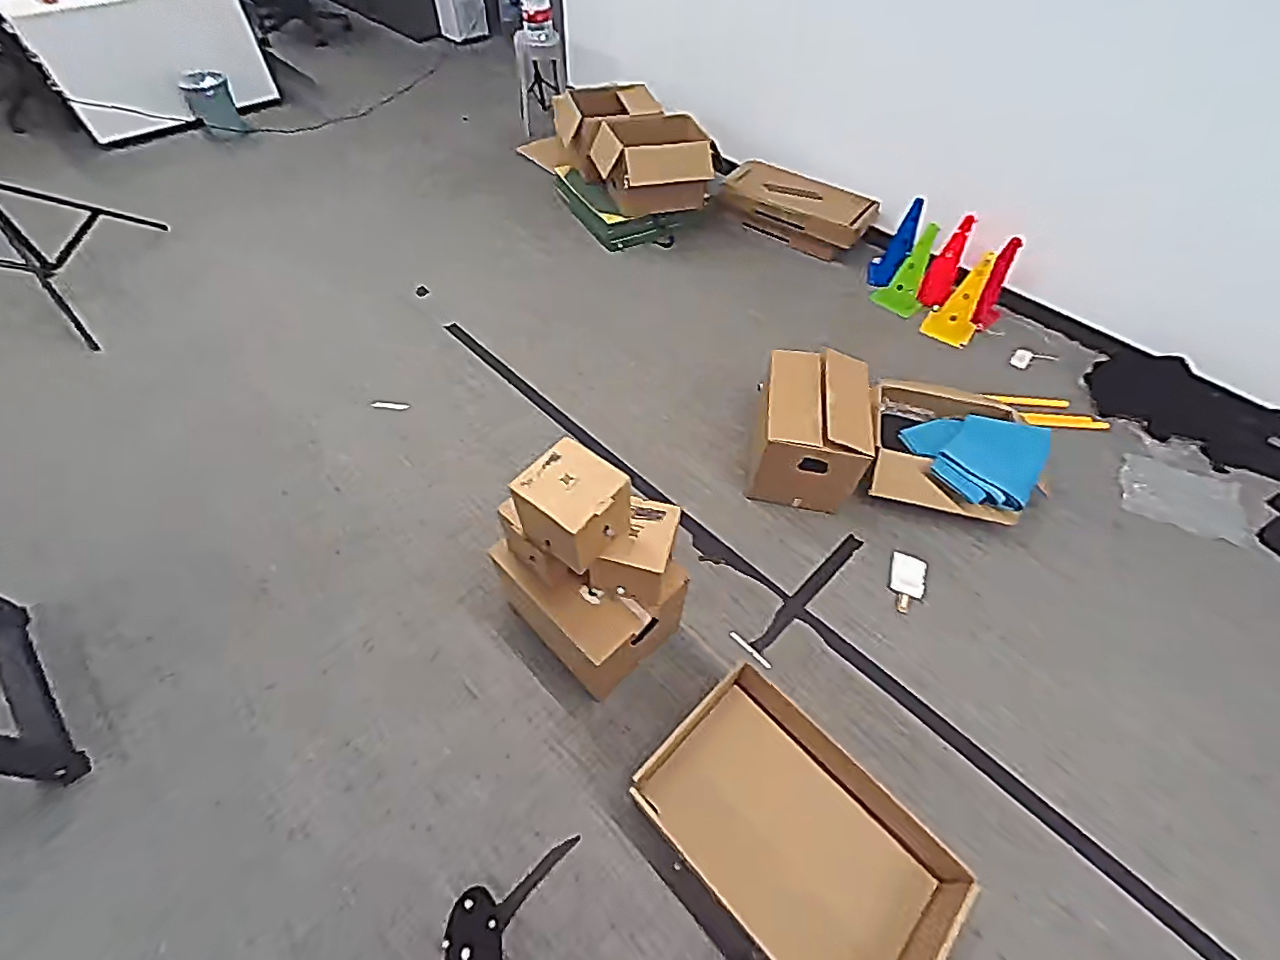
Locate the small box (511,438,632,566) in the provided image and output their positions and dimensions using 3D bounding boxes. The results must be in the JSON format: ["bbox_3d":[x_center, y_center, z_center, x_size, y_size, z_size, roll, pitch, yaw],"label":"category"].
[{"bbox_3d":[-0.132,0.053,1.106,0.179,0.176,0.168,34,60,21],"label":"small box"}]

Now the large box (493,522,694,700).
[{"bbox_3d":[-0.123,0.295,1.434,0.408,0.320,0.320,39,62,22],"label":"large box"}]

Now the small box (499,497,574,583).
[{"bbox_3d":[-0.200,0.109,1.266,0.168,0.176,0.179,39,61,21],"label":"small box"}]
